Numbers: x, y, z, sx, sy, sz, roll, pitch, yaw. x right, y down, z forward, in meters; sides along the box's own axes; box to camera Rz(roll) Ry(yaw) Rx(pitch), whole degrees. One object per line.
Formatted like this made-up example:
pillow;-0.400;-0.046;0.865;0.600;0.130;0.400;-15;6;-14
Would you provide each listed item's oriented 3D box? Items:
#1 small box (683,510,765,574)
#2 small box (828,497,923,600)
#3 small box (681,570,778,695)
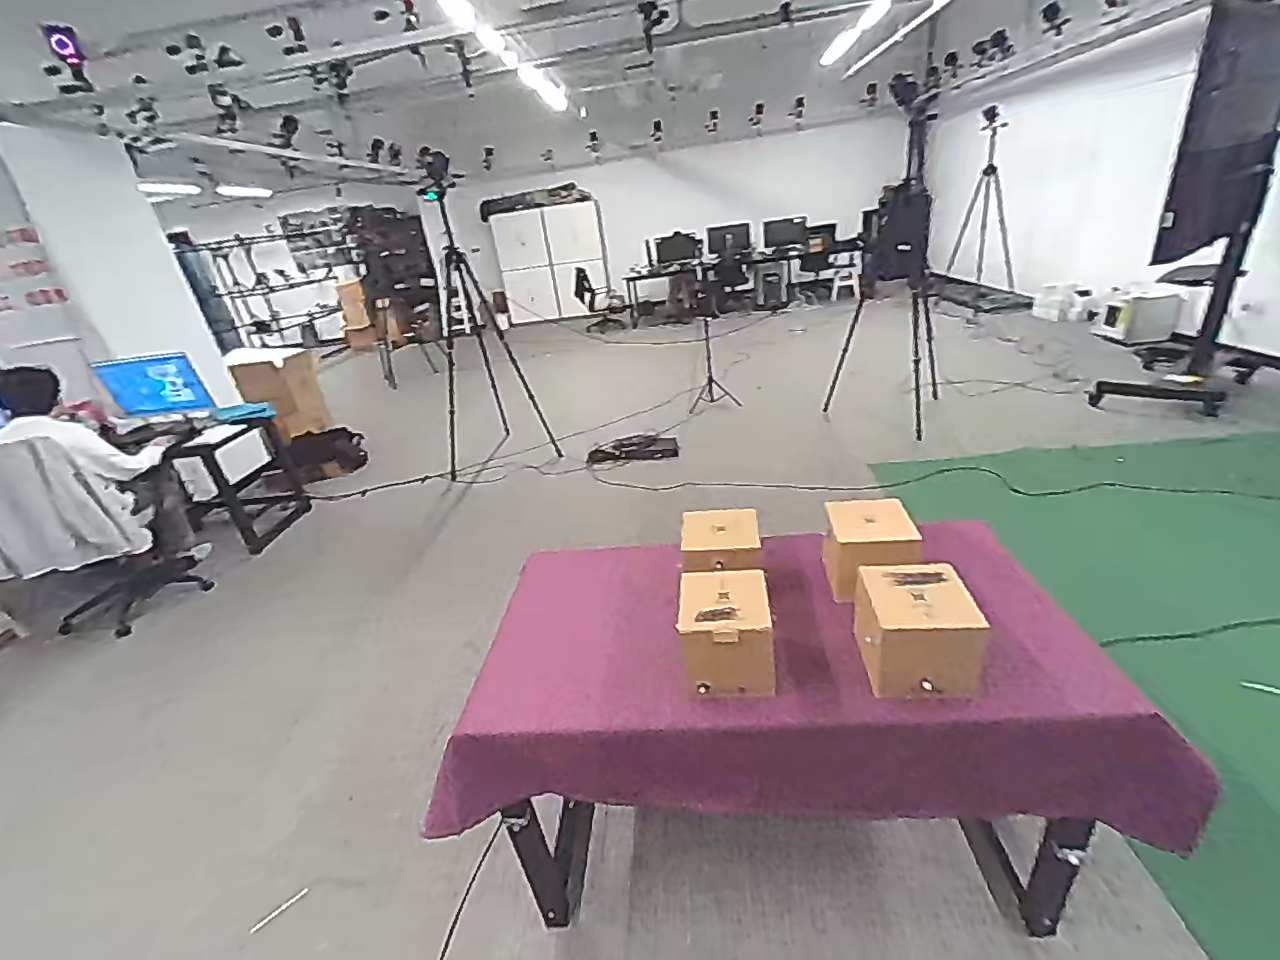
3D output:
small box;0.202;0.186;1.273;0.179;0.176;0.168;-4;27;11
small box;0.524;0.158;1.221;0.168;0.176;0.179;-4;25;11
small box;0.175;0.297;1.050;0.168;0.176;0.179;-4;25;9
